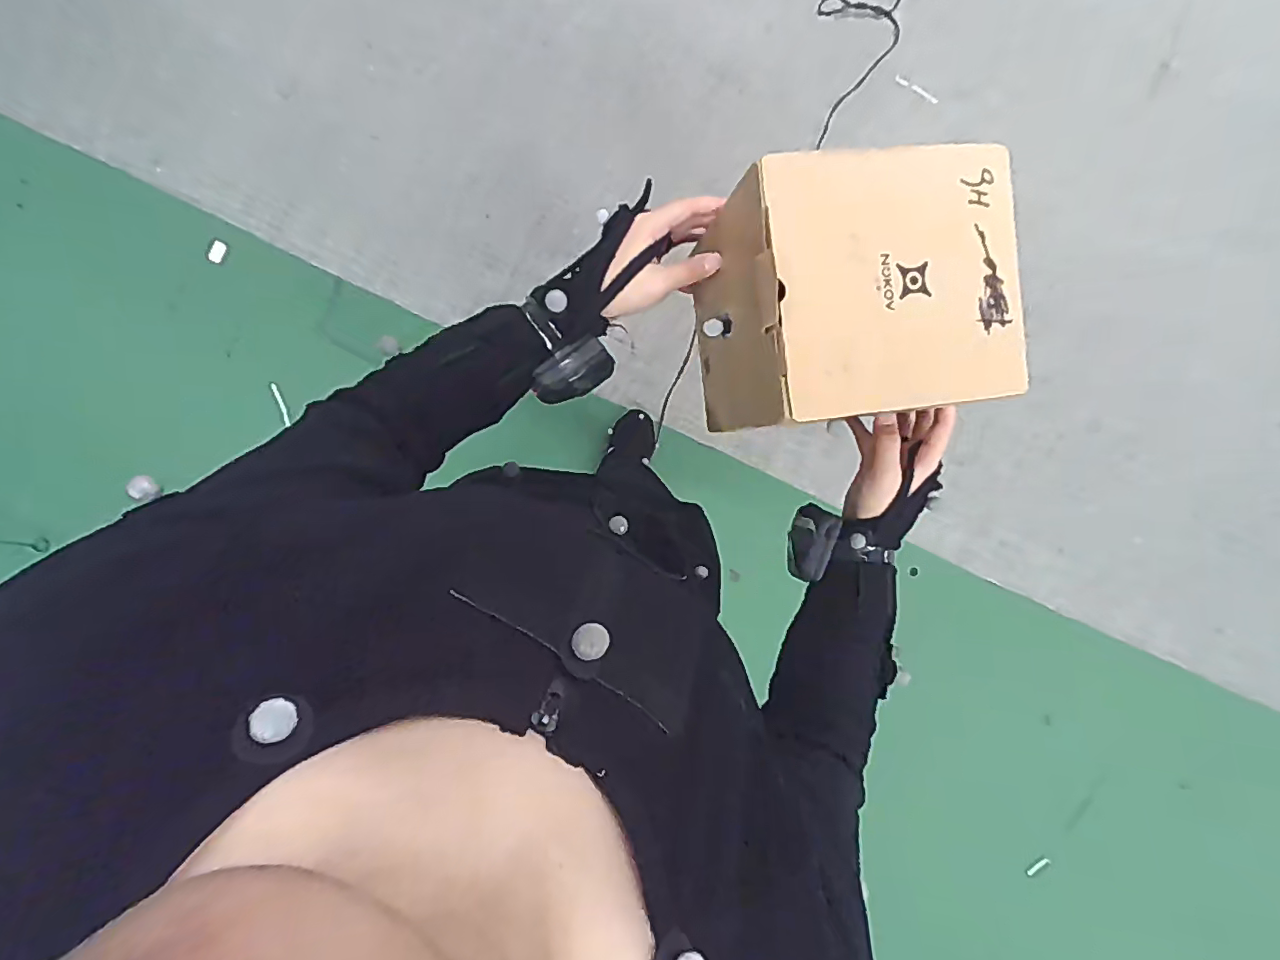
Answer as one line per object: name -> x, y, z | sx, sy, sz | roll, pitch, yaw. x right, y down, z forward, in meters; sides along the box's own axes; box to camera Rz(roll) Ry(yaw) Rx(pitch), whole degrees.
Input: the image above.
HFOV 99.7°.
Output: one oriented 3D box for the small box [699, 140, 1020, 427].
small box -> 0.151, -0.136, 0.429 | 0.179, 0.176, 0.168 | -8, 94, -9
